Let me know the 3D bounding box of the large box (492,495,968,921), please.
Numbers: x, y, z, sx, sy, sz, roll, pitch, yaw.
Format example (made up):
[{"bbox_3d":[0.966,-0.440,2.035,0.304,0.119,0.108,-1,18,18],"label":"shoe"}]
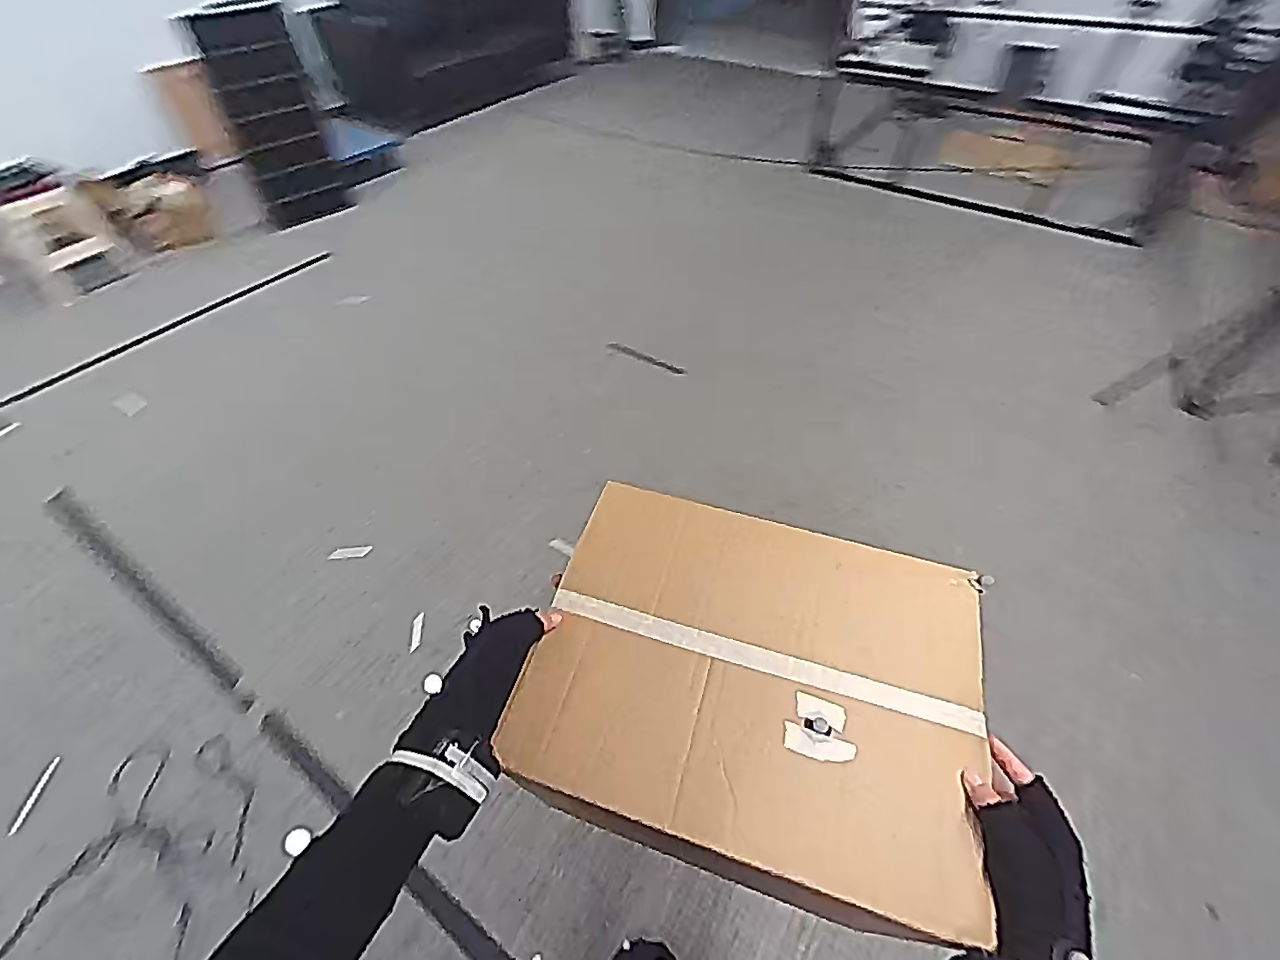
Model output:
[{"bbox_3d":[0.099,0.264,0.645,0.408,0.320,0.320,13,55,11],"label":"large box"}]
